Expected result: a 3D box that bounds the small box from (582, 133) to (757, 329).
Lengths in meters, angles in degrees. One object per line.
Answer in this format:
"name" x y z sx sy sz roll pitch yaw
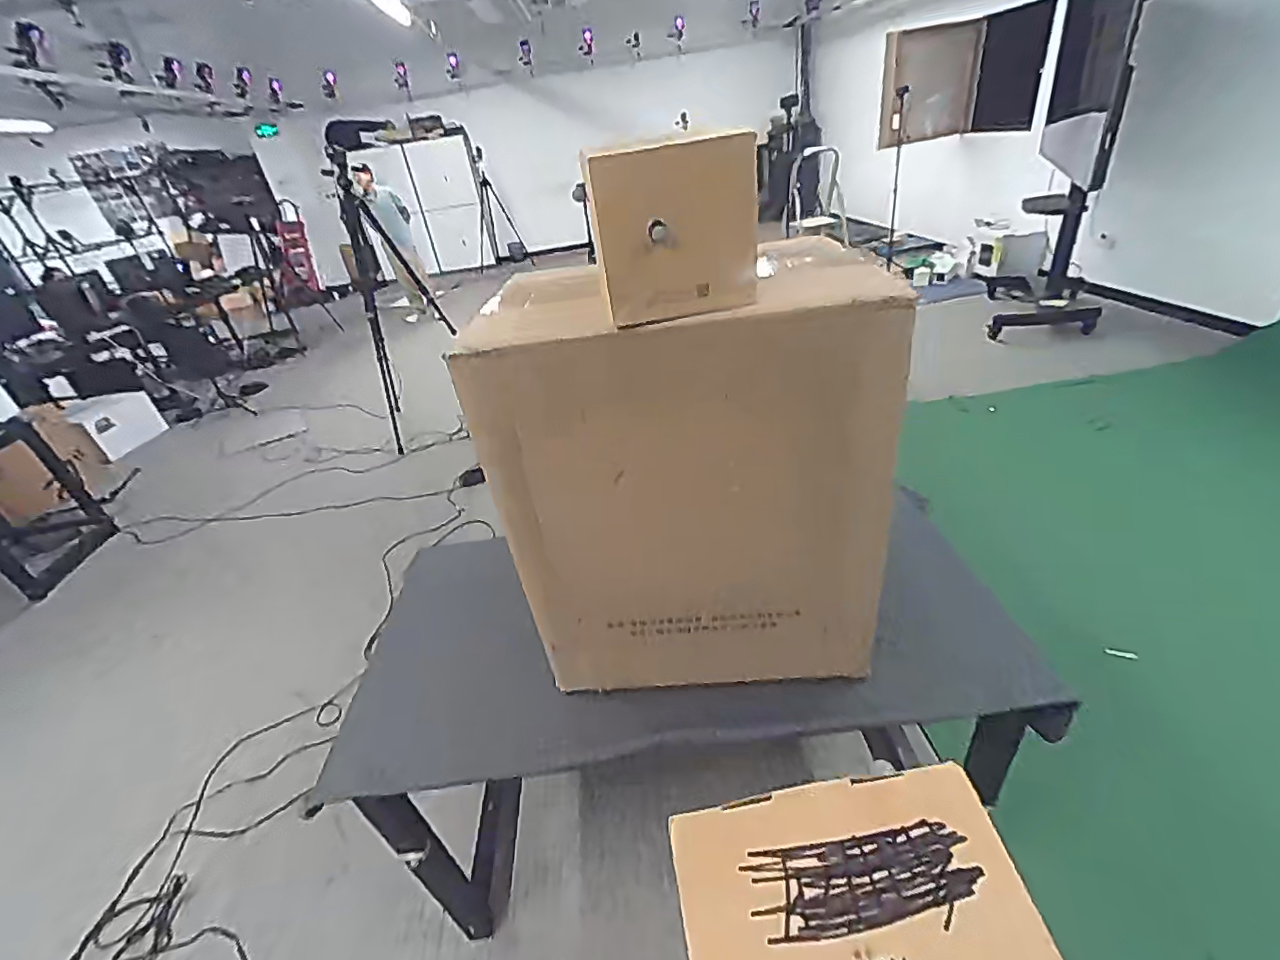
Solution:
"small box" 0.032 -0.284 0.621 0.168 0.176 0.179 -11 34 -2
